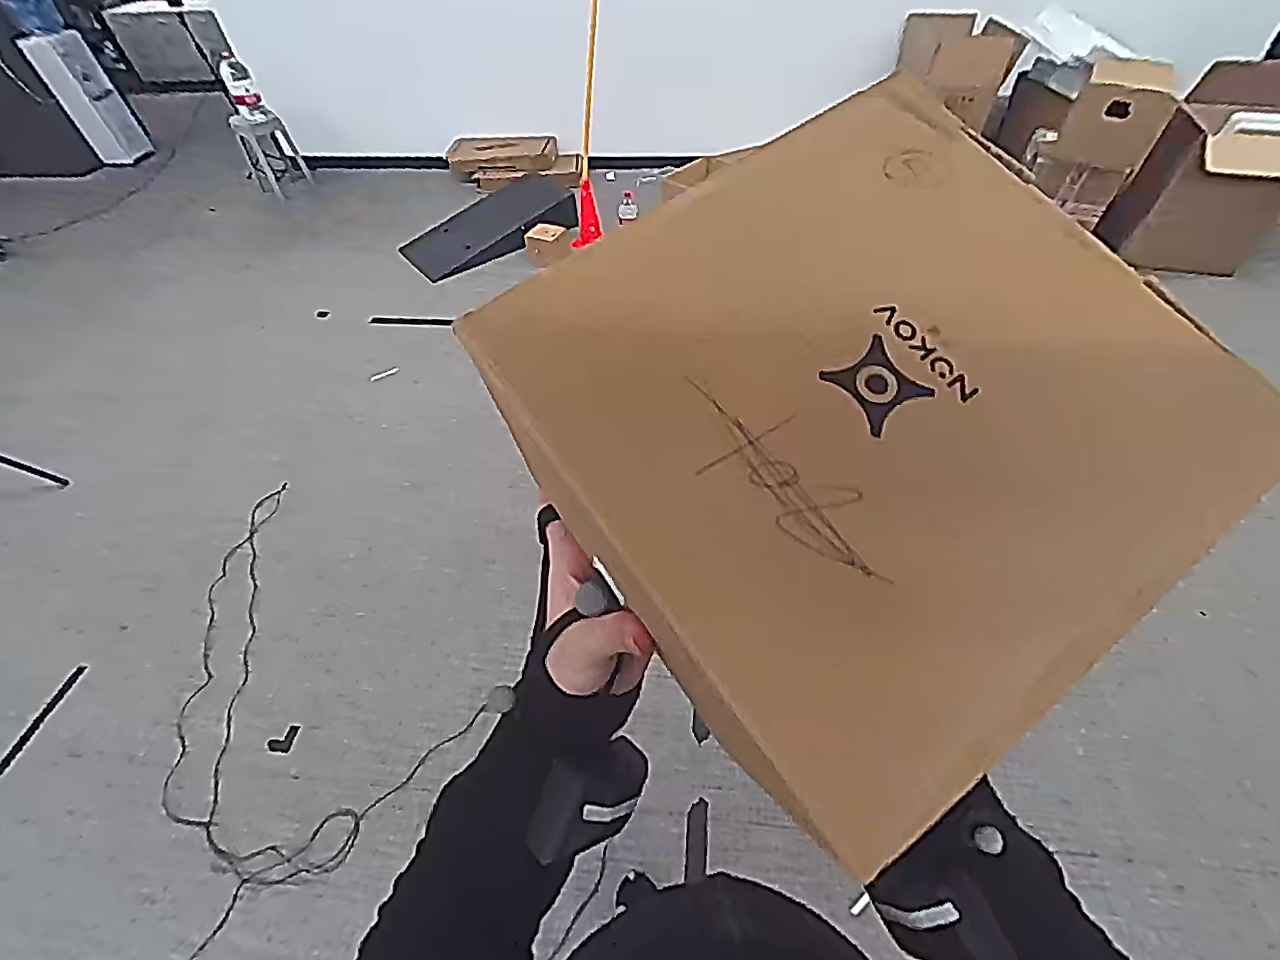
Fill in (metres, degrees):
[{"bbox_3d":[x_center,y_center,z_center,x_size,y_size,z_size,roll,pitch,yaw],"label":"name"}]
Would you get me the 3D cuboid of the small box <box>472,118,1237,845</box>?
[{"bbox_3d":[0.061,0.002,0.238,0.179,0.176,0.168,-36,76,-11],"label":"small box"}]
